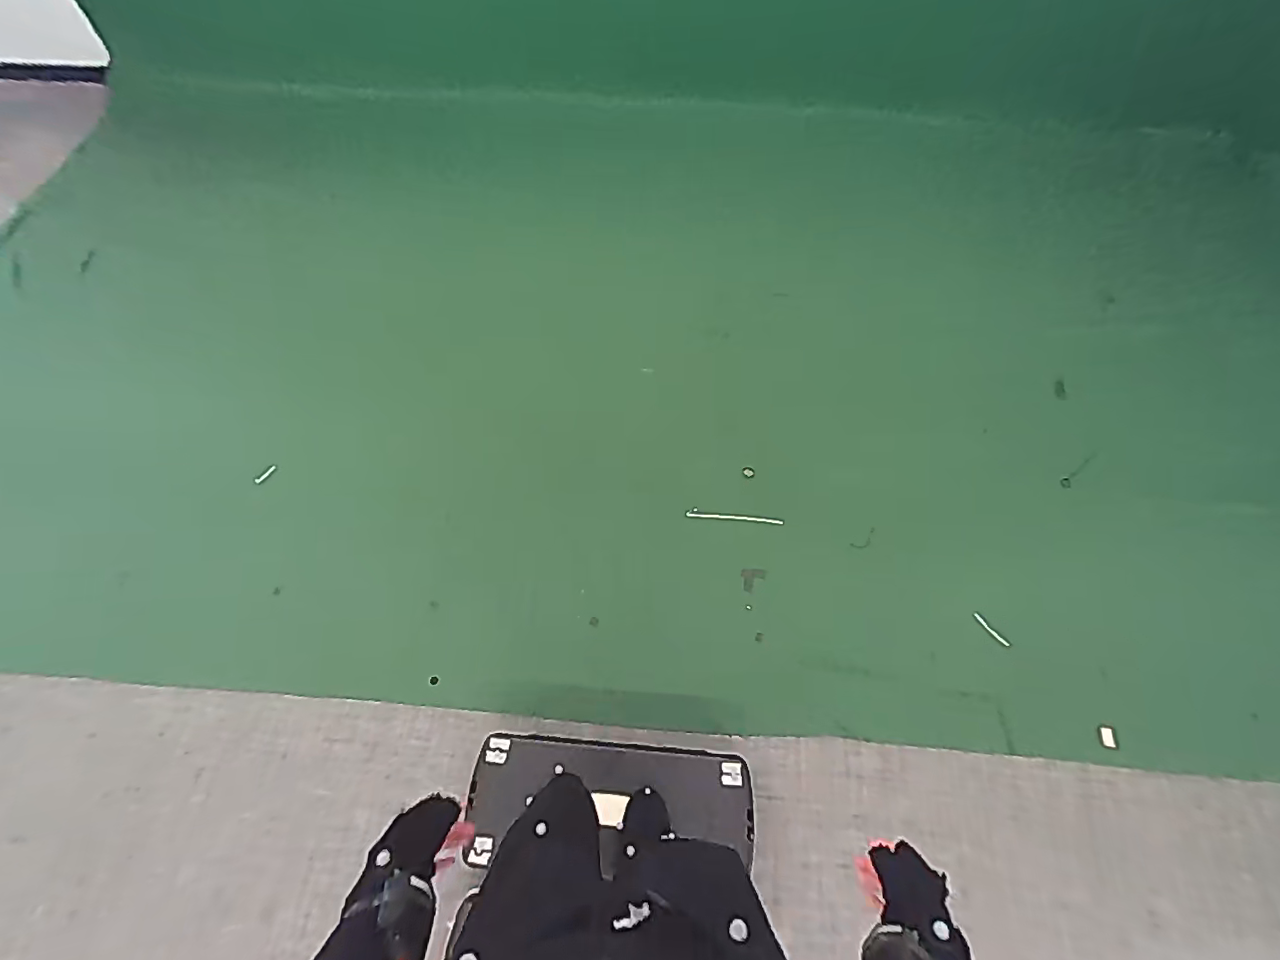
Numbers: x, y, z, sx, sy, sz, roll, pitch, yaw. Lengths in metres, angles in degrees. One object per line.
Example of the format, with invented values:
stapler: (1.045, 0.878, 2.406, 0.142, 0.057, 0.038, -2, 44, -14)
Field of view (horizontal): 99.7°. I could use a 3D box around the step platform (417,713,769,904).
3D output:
step platform: (-0.087, 0.677, 1.144, 0.684, 0.204, 0.286, 4, 63, 2)
